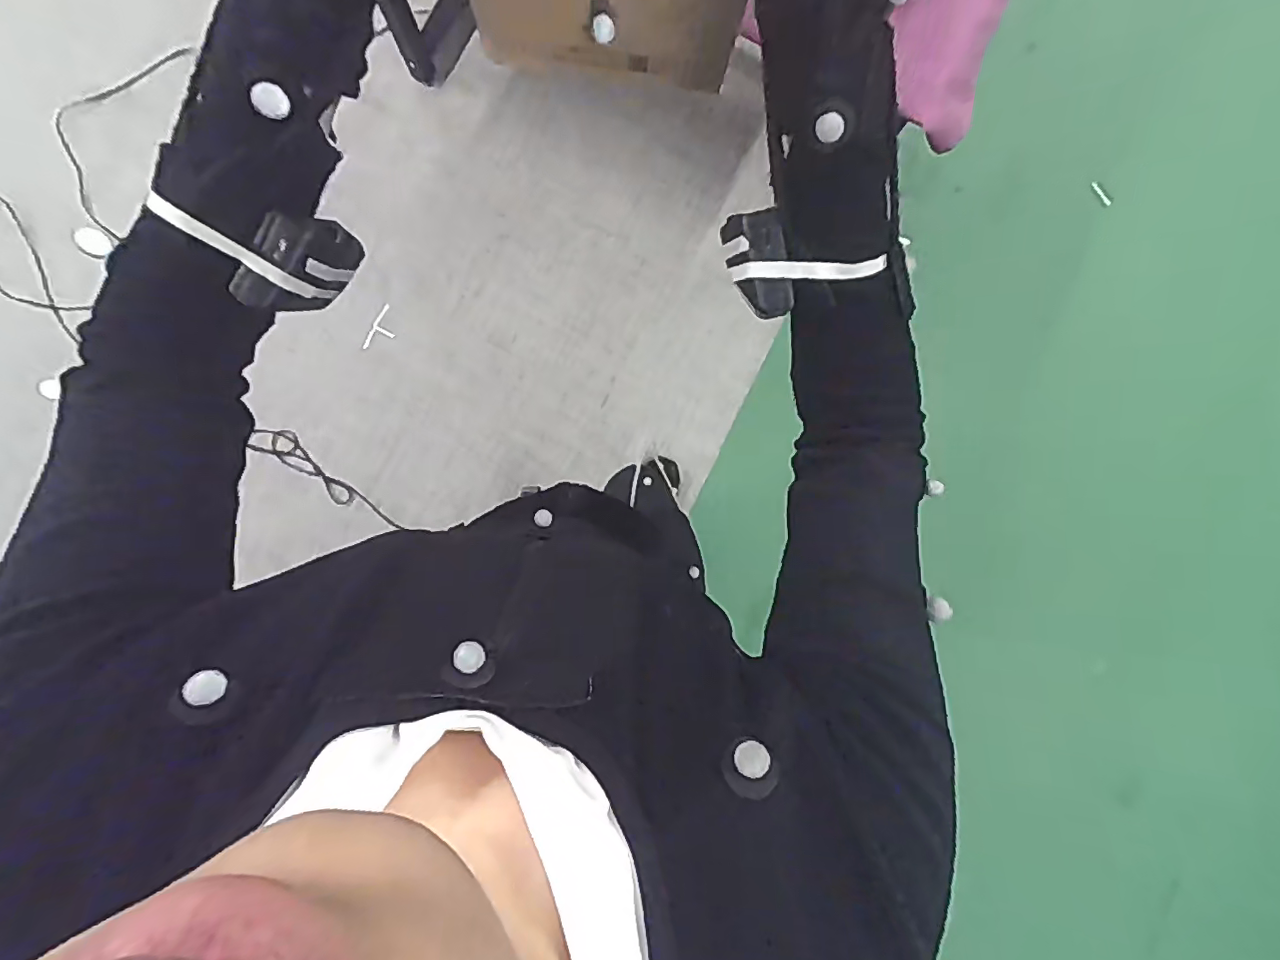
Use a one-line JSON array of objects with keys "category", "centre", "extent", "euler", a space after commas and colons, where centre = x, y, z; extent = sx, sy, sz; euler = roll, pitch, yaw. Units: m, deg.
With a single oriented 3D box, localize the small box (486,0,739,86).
[{"category": "small box", "centre": [-0.012, -0.375, 0.302], "extent": [0.168, 0.176, 0.179], "euler": [5, 90, -3]}]
